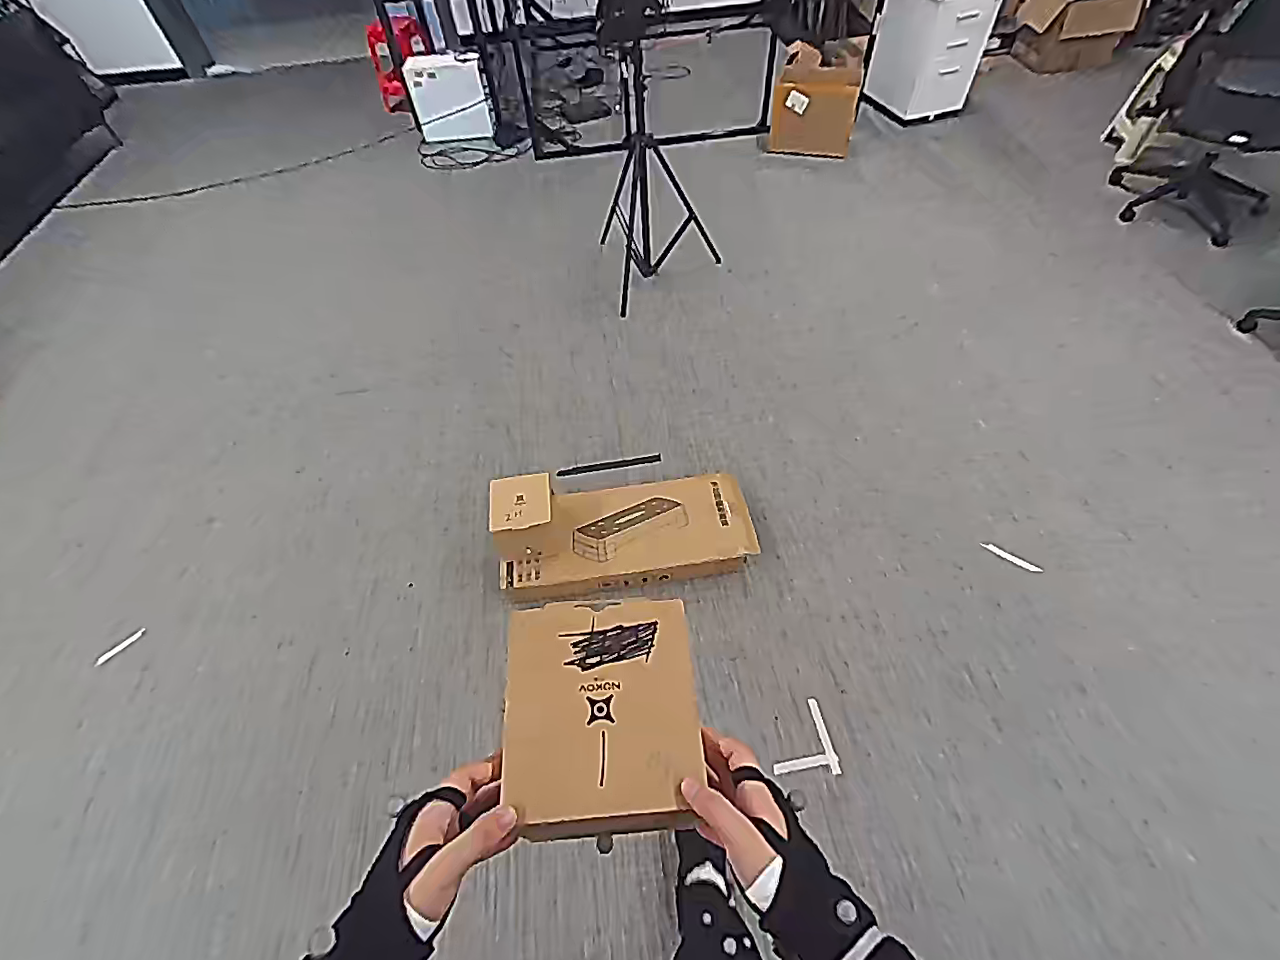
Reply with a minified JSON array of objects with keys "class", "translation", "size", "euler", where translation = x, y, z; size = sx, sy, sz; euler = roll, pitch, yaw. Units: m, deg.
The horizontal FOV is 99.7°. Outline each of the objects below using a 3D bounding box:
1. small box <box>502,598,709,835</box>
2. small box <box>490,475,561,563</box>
[{"class":"small box","translation":[-0.033,0.236,0.536],"size":[0.168,0.176,0.179],"euler":[-3,53,-3]},{"class":"small box","translation":[-0.319,0.113,1.532],"size":[0.168,0.176,0.179],"euler":[-8,53,-3]}]
